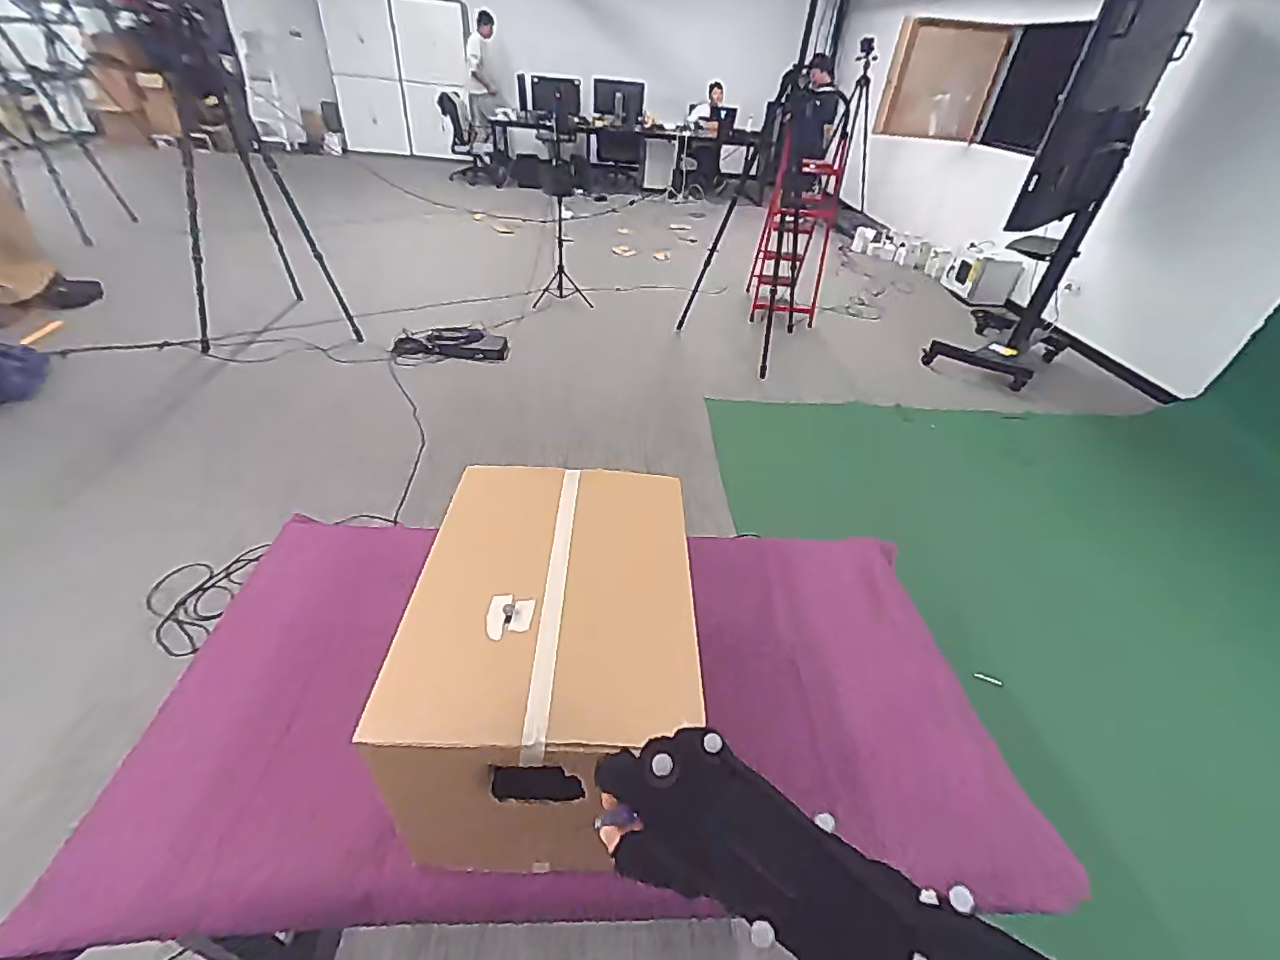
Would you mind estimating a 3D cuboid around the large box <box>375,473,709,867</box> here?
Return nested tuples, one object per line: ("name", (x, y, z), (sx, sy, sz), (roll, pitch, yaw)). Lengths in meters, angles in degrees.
("large box", (-0.106, 0.239, 0.736), (0.320, 0.320, 0.408), (4, 38, -3))
